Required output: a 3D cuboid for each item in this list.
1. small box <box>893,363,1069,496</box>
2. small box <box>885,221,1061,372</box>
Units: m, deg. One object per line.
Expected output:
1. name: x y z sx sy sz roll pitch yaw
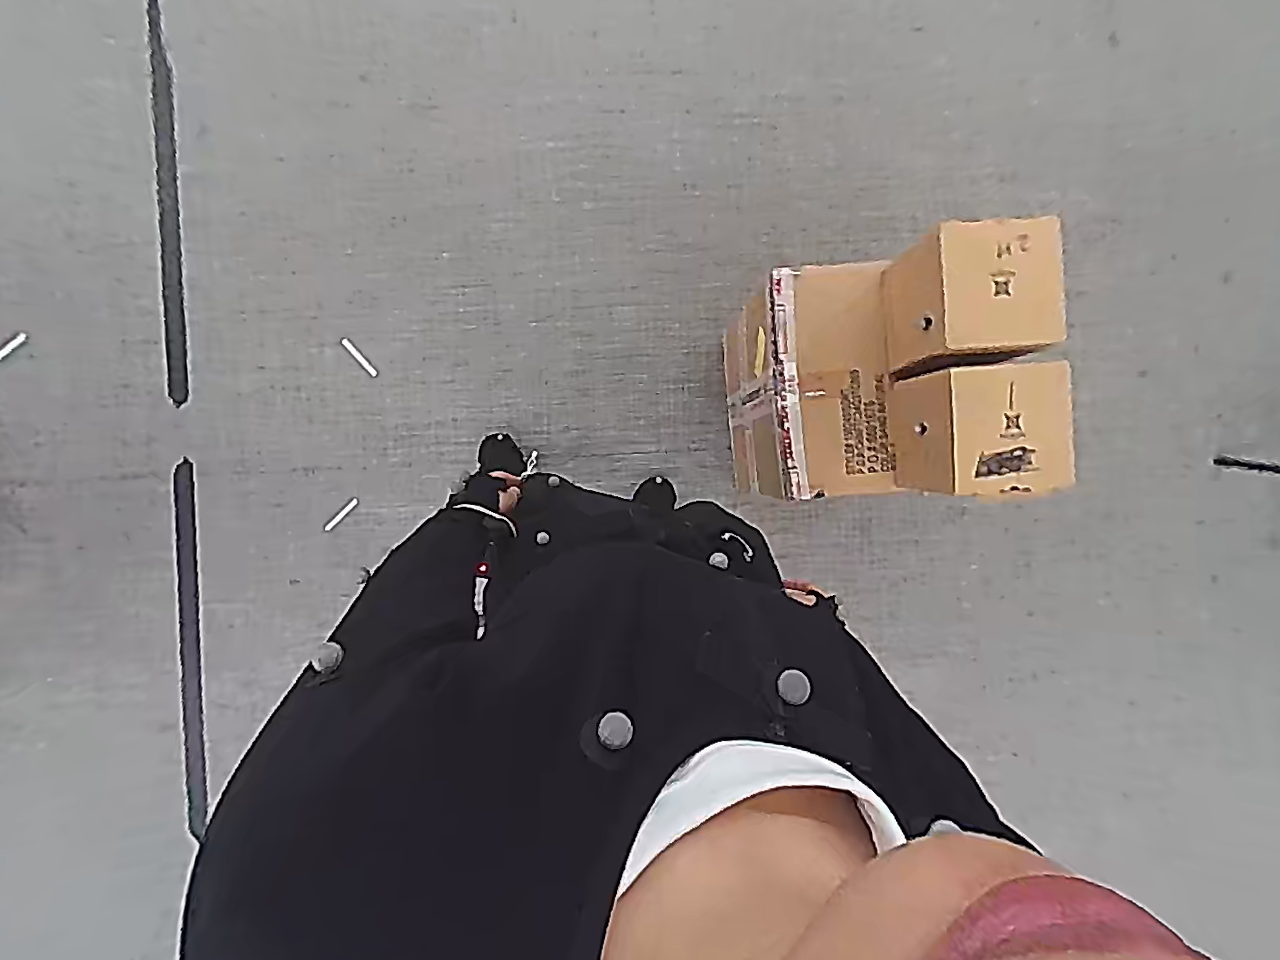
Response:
1. small box: 0.504 -0.073 0.820 0.168 0.176 0.179 -3 92 0
2. small box: 0.488 -0.263 0.814 0.168 0.176 0.179 -3 89 -1
